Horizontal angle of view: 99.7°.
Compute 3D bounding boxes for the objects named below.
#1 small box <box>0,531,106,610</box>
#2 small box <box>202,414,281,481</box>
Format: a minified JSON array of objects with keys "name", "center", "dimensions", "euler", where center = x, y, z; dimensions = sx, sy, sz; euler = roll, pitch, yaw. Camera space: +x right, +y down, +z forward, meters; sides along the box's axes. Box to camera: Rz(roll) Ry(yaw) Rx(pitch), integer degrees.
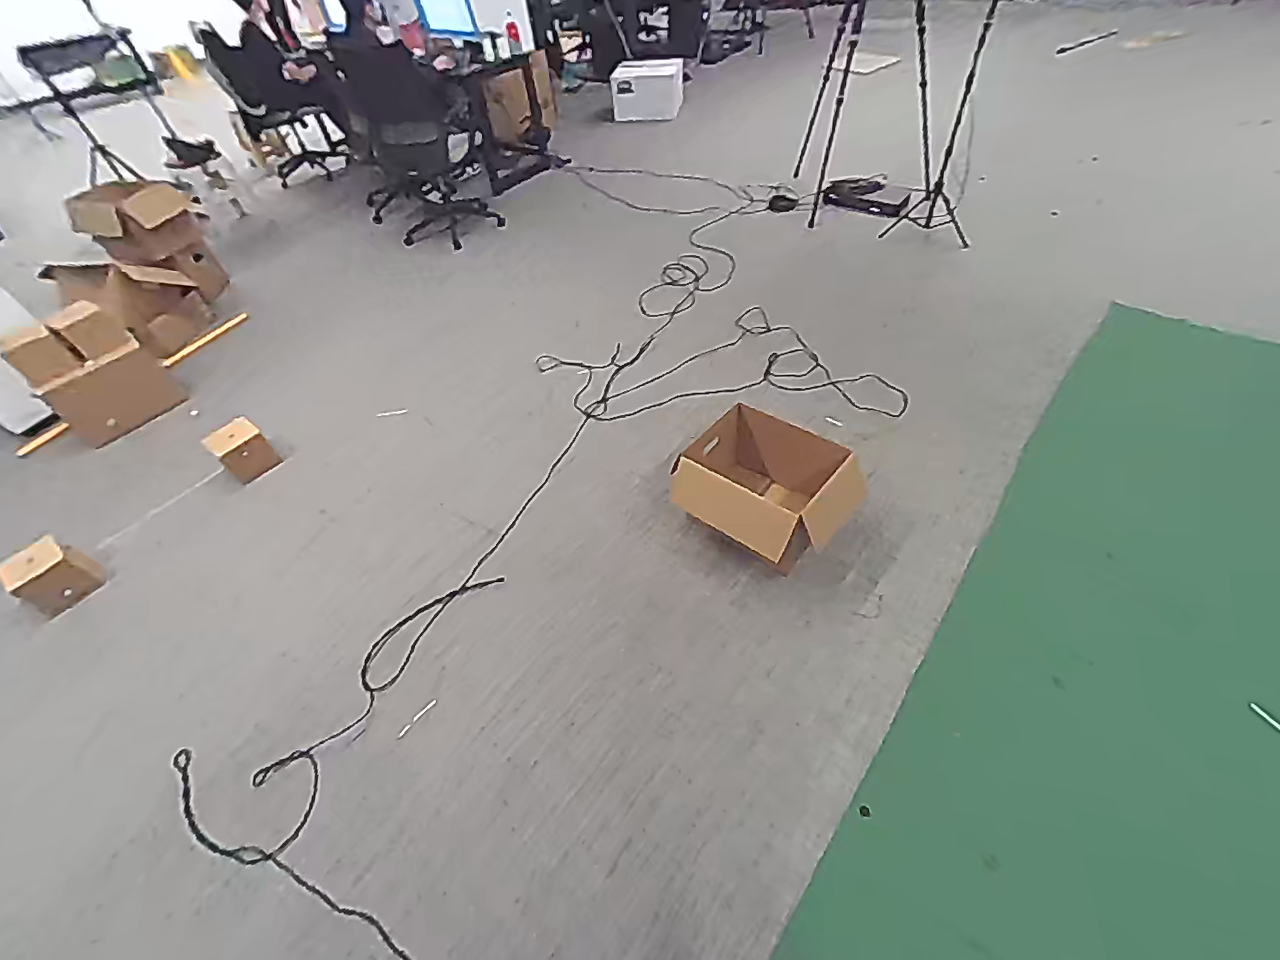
[{"name":"small box","center":[-1.998,0.312,1.843],"dimensions":[0.179,0.176,0.168],"euler":[28,58,27]},{"name":"small box","center":[-1.589,-0.130,2.171],"dimensions":[0.168,0.176,0.179],"euler":[28,59,27]}]
